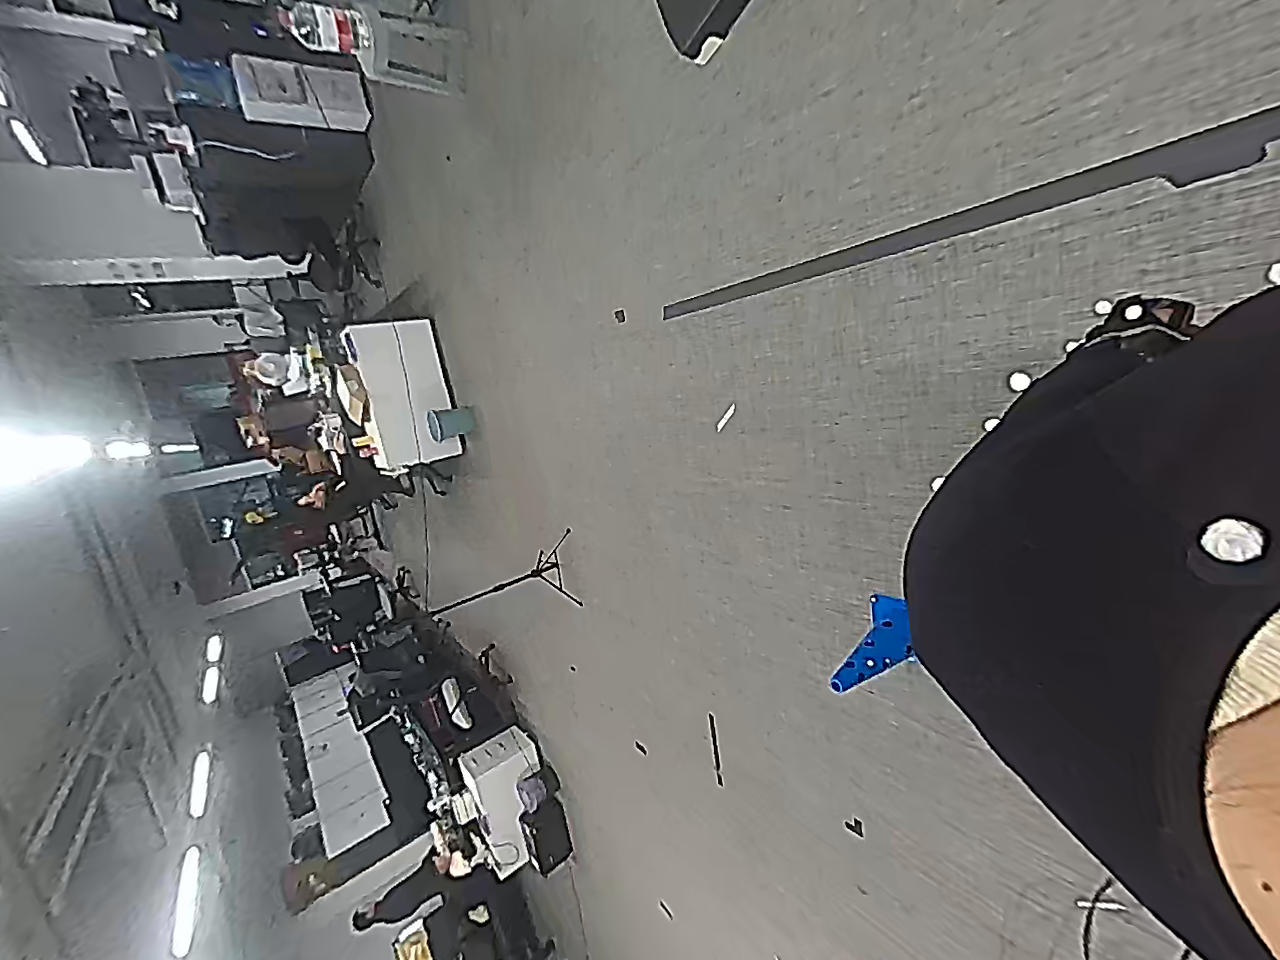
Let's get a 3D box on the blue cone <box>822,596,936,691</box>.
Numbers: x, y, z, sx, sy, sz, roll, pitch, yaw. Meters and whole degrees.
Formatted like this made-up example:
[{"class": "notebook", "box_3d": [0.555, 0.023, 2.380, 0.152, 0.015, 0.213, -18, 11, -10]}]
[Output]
[{"class": "blue cone", "box_3d": [0.644, 0.487, 1.505, 0.192, 0.380, 0.193, 8, 111, 54]}]
